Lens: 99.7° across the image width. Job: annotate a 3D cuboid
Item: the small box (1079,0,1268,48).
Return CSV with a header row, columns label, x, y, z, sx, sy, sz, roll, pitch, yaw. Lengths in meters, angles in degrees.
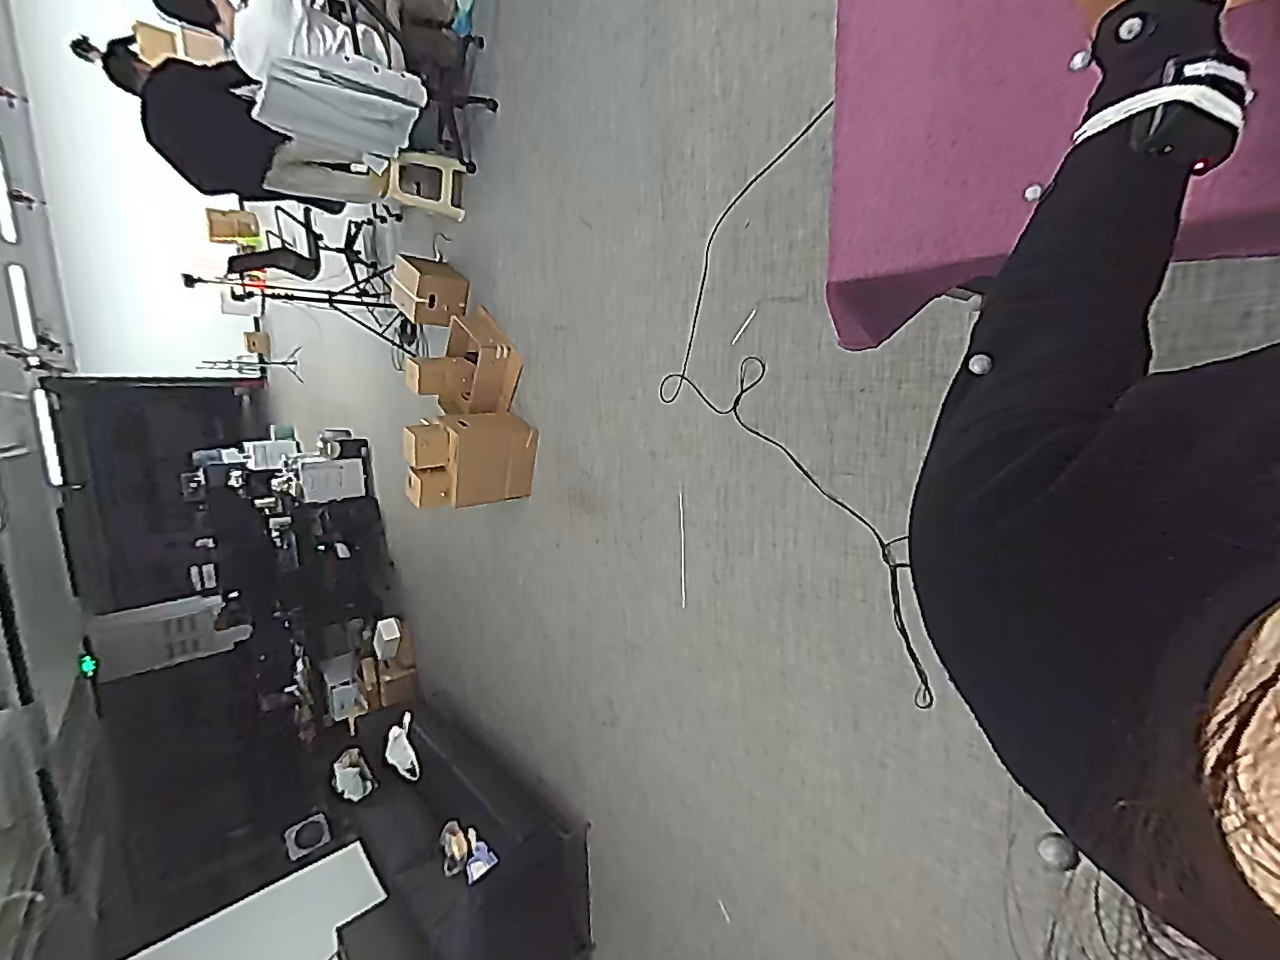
label,x,y,z,sx,sy,sz,roll,pitch,yaw
small box,0.504,-0.541,0.478,0.168,0.176,0.179,14,108,47
